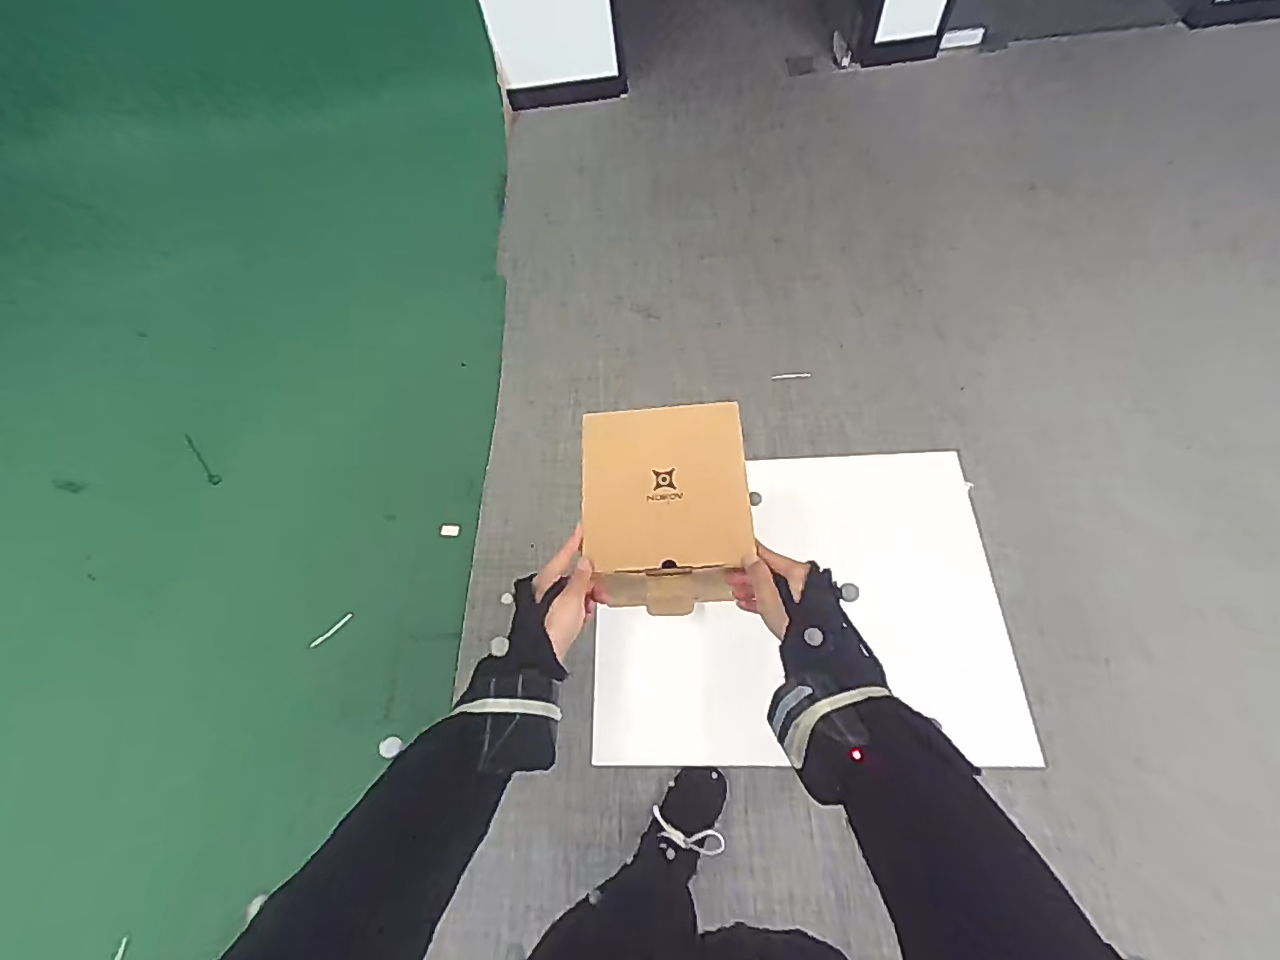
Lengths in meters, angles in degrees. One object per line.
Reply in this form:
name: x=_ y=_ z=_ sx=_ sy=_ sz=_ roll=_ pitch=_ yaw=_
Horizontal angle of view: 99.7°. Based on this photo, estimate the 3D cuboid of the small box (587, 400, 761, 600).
small box: x=0.034 y=0.030 z=0.609 sx=0.168 sy=0.176 sz=0.179 roll=-4 pitch=68 yaw=4
